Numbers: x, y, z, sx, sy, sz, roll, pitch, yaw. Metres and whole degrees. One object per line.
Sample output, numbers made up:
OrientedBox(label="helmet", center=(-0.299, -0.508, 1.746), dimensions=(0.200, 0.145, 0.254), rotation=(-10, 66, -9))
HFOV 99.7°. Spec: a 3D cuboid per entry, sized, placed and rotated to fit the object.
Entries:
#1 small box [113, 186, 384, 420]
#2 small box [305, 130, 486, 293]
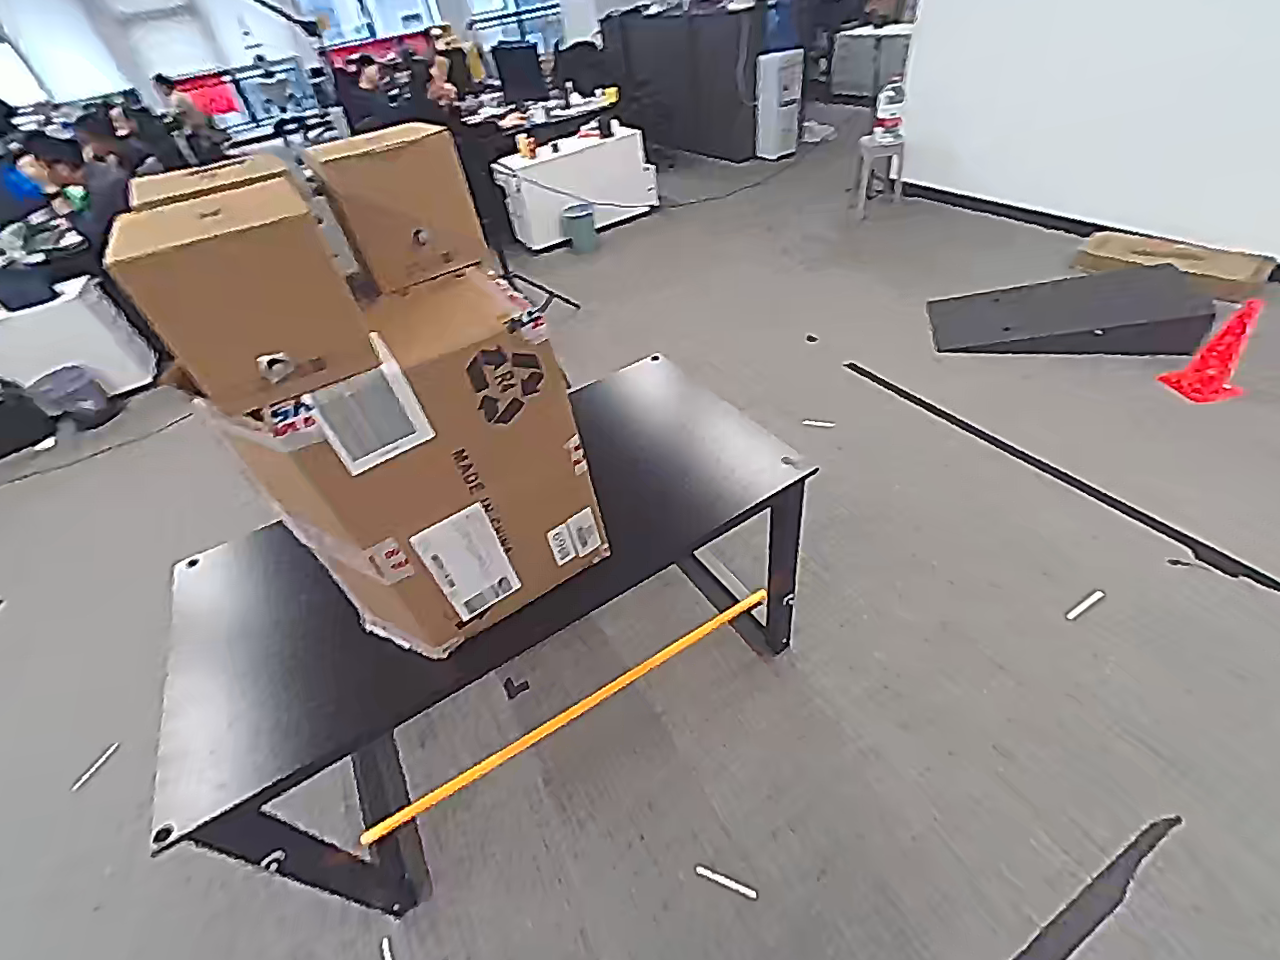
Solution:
OrientedBox(label="small box", center=(-0.408, -0.193, 0.584), dimensions=(0.168, 0.176, 0.179), rotation=(-29, 48, -21))
OrientedBox(label="small box", center=(-0.351, -0.391, 0.787), dimensions=(0.168, 0.176, 0.179), rotation=(-30, 45, -20))
